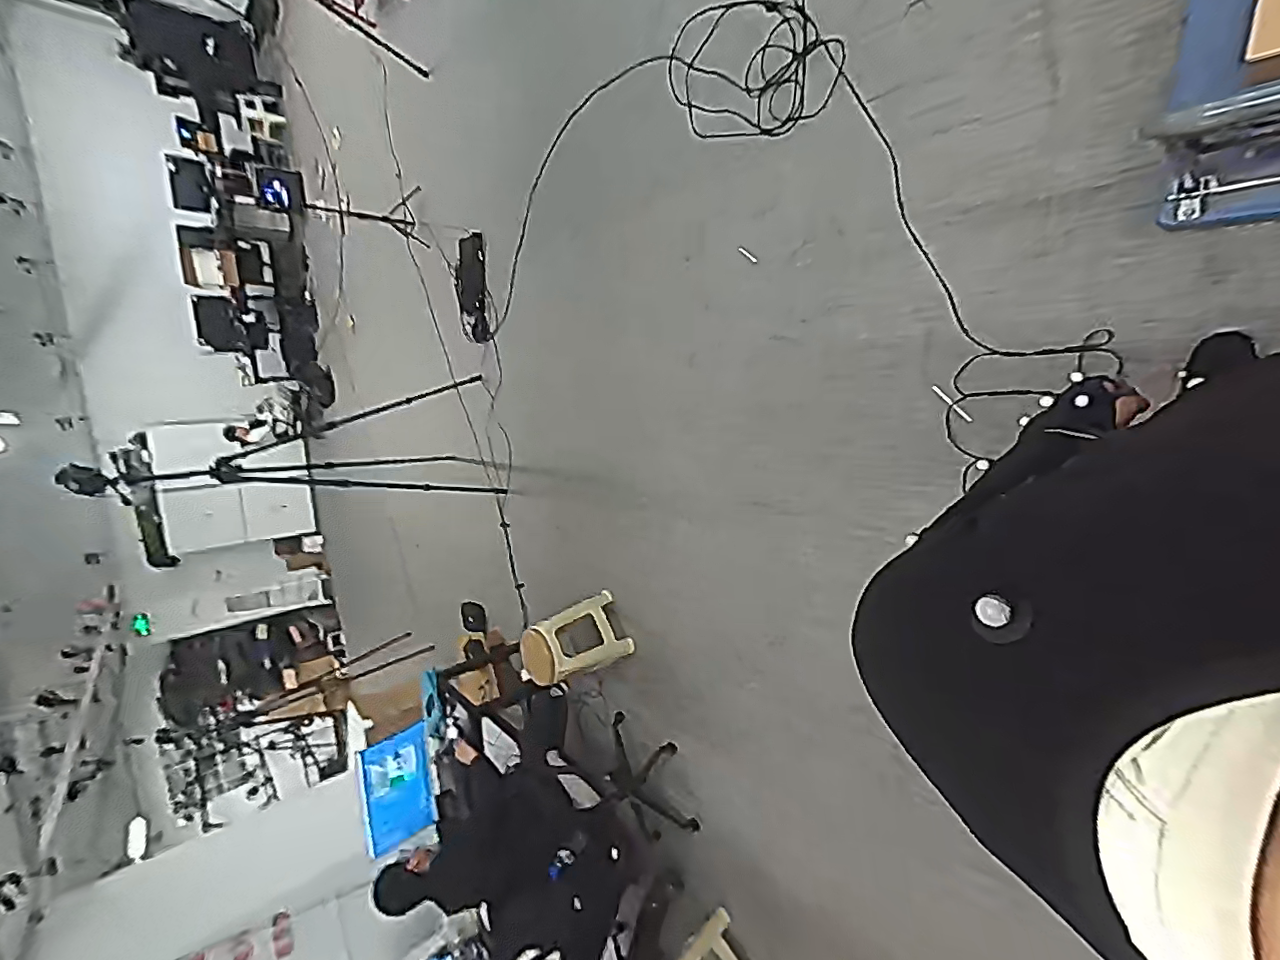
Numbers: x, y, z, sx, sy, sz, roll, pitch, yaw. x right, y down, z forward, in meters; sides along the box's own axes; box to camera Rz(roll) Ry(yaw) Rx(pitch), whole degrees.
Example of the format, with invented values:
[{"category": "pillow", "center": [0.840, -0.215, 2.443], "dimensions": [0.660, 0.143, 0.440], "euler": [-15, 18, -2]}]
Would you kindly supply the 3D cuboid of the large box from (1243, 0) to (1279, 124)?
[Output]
[{"category": "large box", "center": [1.049, -0.766, 0.693], "dimensions": [0.320, 0.320, 0.408], "euler": [14, 108, 46]}]
